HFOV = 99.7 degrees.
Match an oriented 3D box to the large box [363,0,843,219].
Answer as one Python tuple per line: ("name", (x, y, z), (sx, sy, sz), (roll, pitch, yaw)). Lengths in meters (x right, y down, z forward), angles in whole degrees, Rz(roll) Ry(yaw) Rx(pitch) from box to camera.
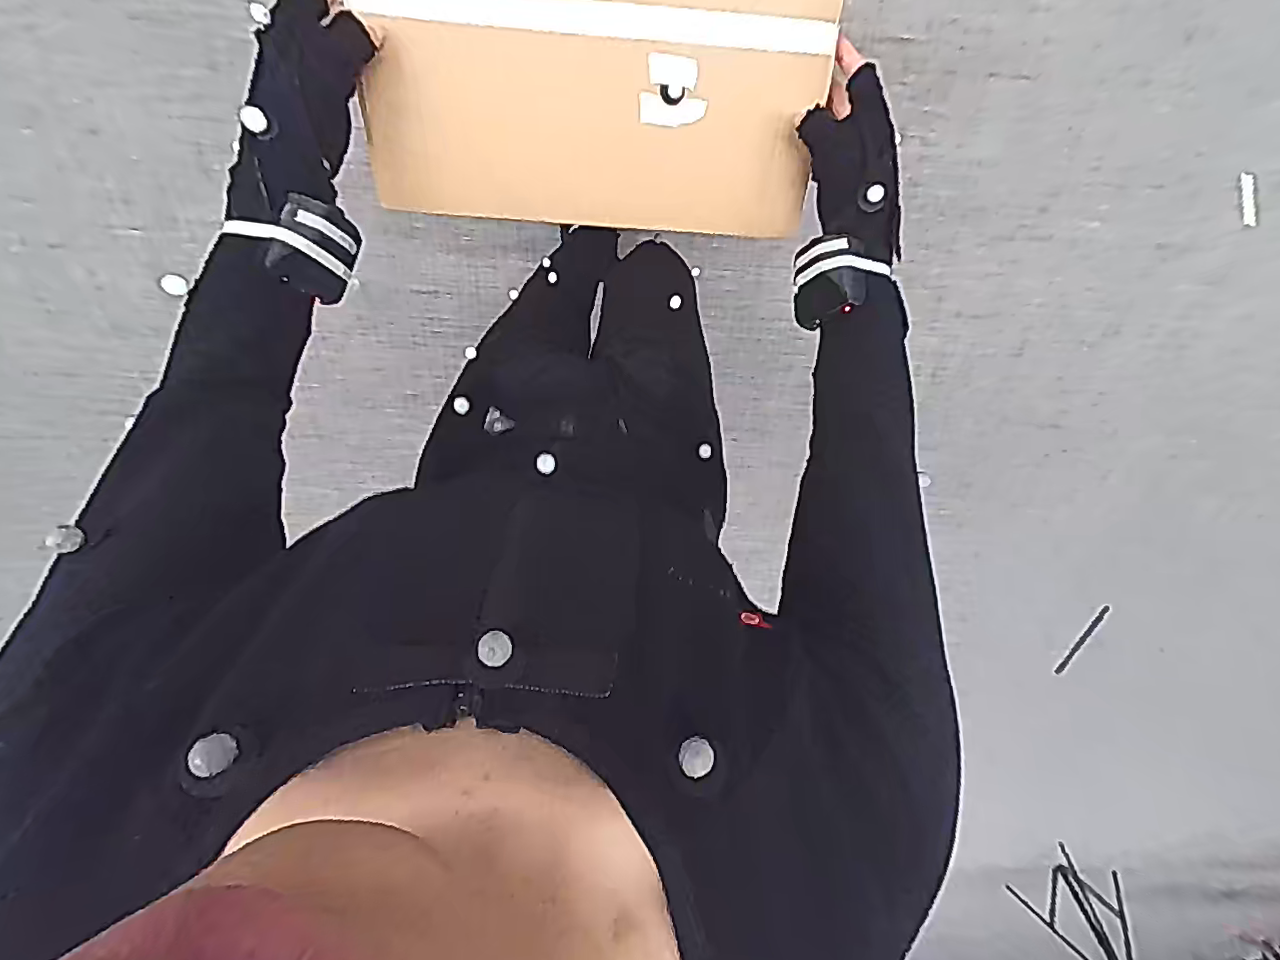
("large box", (-0.037, -0.475, 0.572), (0.408, 0.320, 0.320), (1, 124, -5))
